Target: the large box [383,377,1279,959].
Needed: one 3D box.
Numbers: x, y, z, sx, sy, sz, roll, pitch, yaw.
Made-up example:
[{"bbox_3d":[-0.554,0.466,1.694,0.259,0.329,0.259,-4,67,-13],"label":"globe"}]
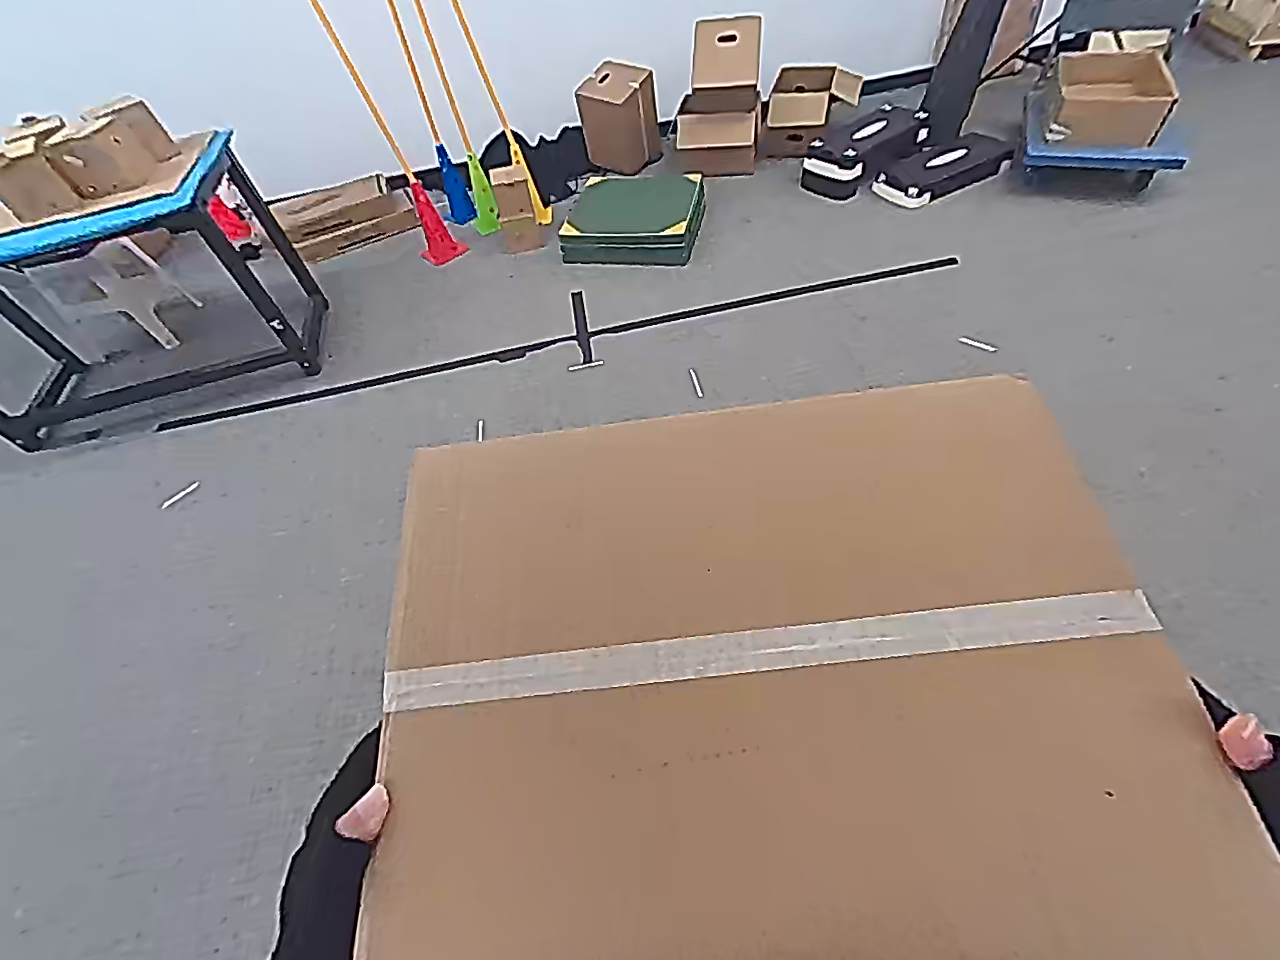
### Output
[{"bbox_3d":[0.075,0.160,0.435,0.408,0.320,0.320,-8,64,3],"label":"large box"}]
